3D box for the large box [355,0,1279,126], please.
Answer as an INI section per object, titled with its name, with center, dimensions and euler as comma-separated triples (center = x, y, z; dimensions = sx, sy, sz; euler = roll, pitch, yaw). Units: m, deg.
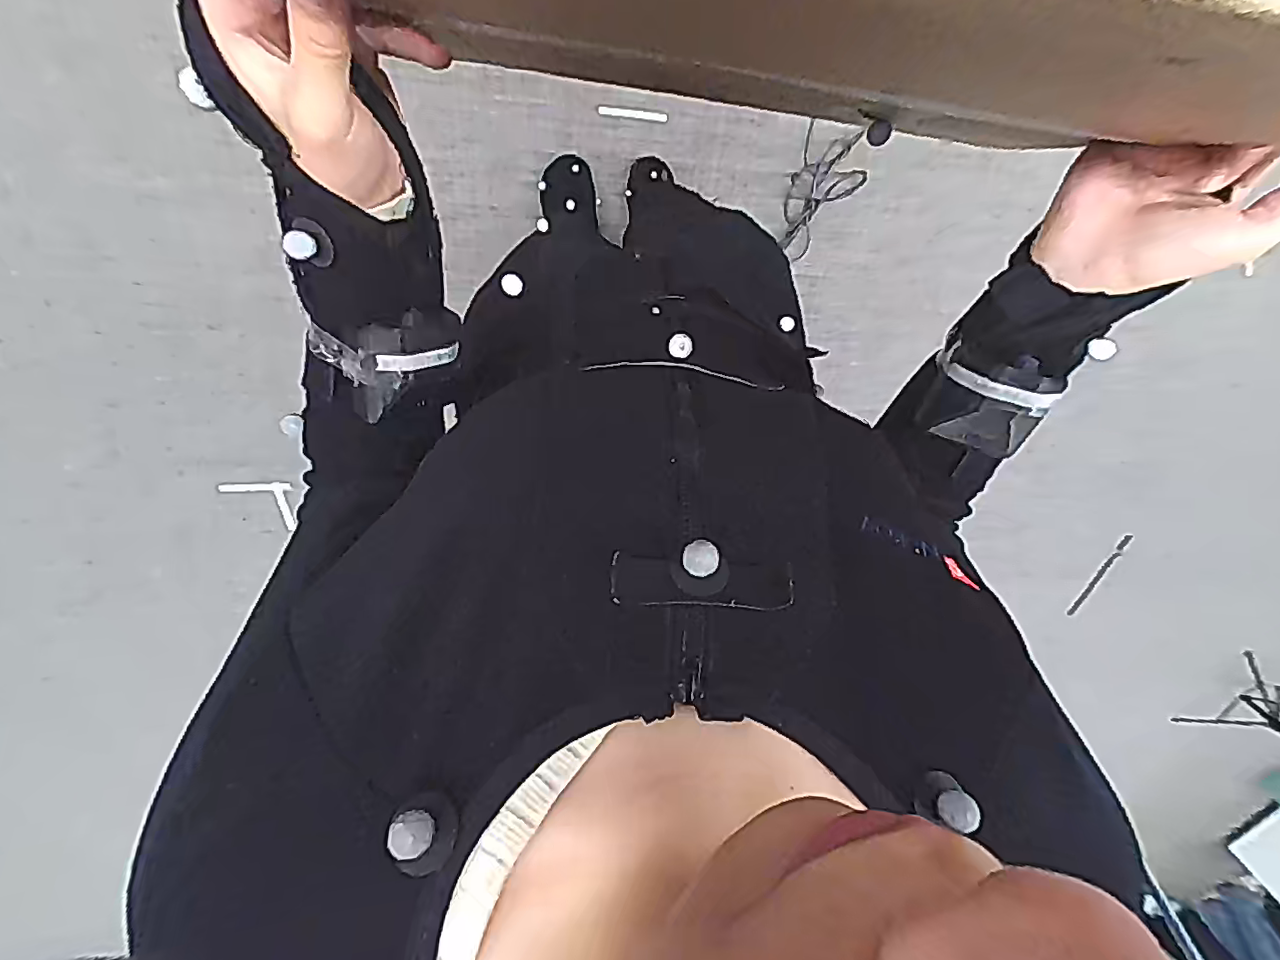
[large box]
center = 0.086, -0.318, 0.155
dimensions = 0.408, 0.320, 0.320
euler = 3, 121, -8
